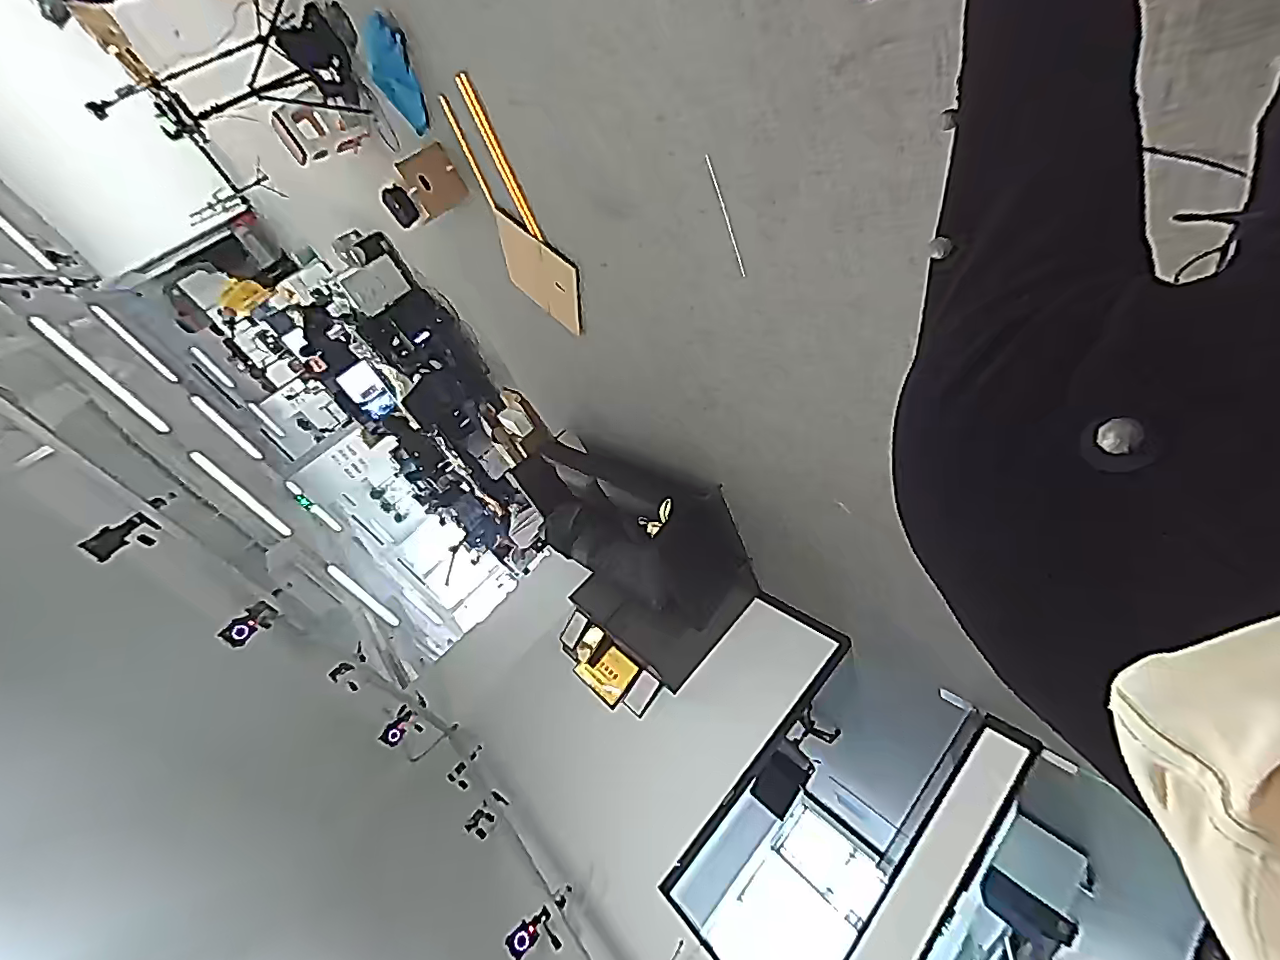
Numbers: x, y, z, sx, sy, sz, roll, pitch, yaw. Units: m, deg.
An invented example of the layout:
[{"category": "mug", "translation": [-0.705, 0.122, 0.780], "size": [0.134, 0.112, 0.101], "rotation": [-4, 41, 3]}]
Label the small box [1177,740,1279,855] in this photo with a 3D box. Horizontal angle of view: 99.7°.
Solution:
[{"category": "small box", "translation": [1.545, 0.810, 1.386], "size": [0.168, 0.176, 0.179], "rotation": [30, 155, 41]}]

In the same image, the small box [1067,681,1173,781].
[{"category": "small box", "translation": [1.369, 0.710, 1.543], "size": [0.168, 0.176, 0.179], "rotation": [30, 155, 41]}]
